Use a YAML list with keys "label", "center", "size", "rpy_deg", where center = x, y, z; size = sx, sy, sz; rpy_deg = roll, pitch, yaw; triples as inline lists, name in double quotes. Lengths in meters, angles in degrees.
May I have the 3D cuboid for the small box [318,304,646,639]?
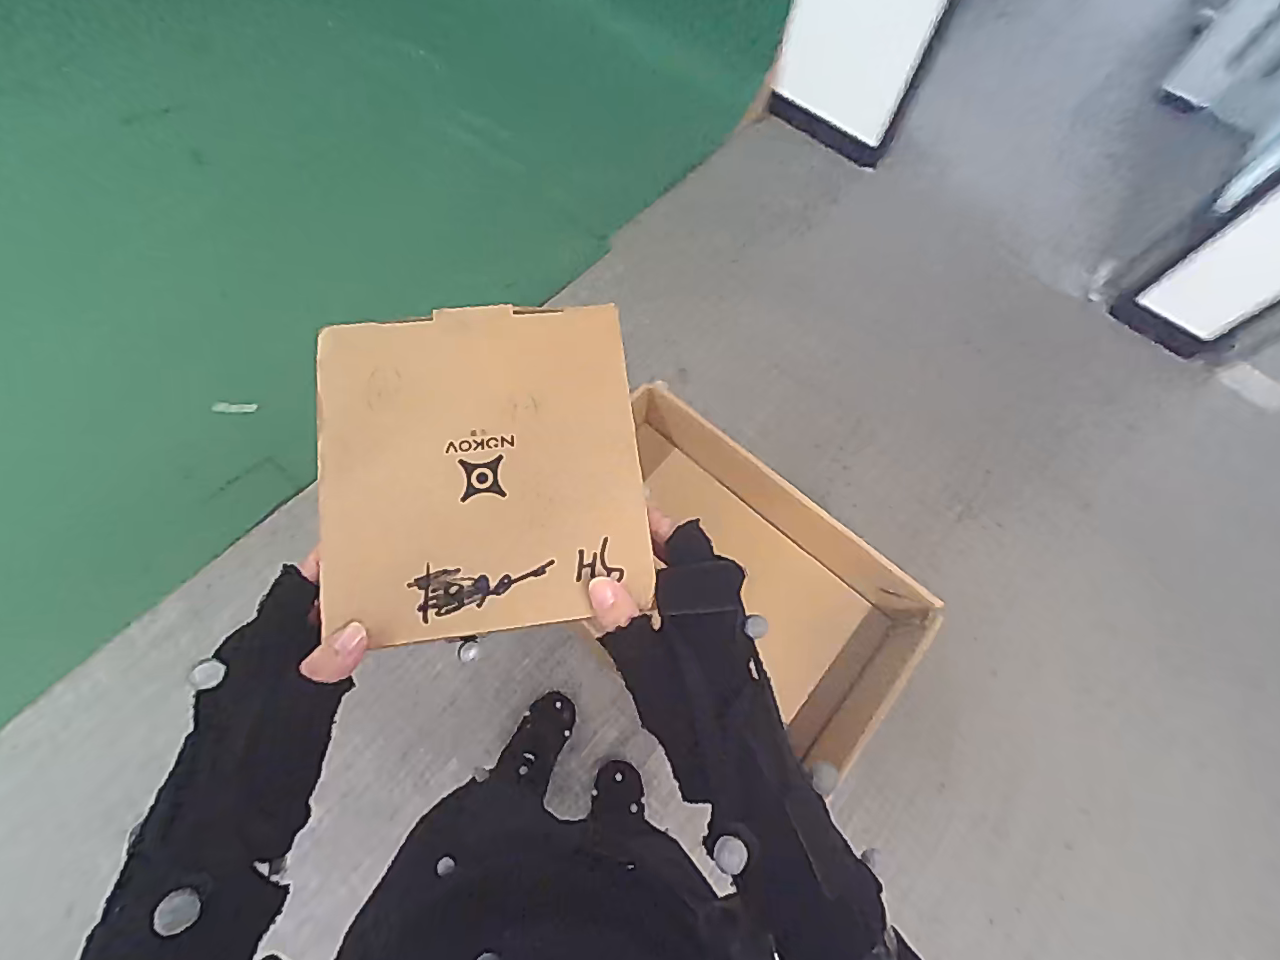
- label: "small box"
  center: [-0.094, 0.006, 0.371]
  size: [0.168, 0.176, 0.179]
  rpy_deg: [-7, 78, -6]
